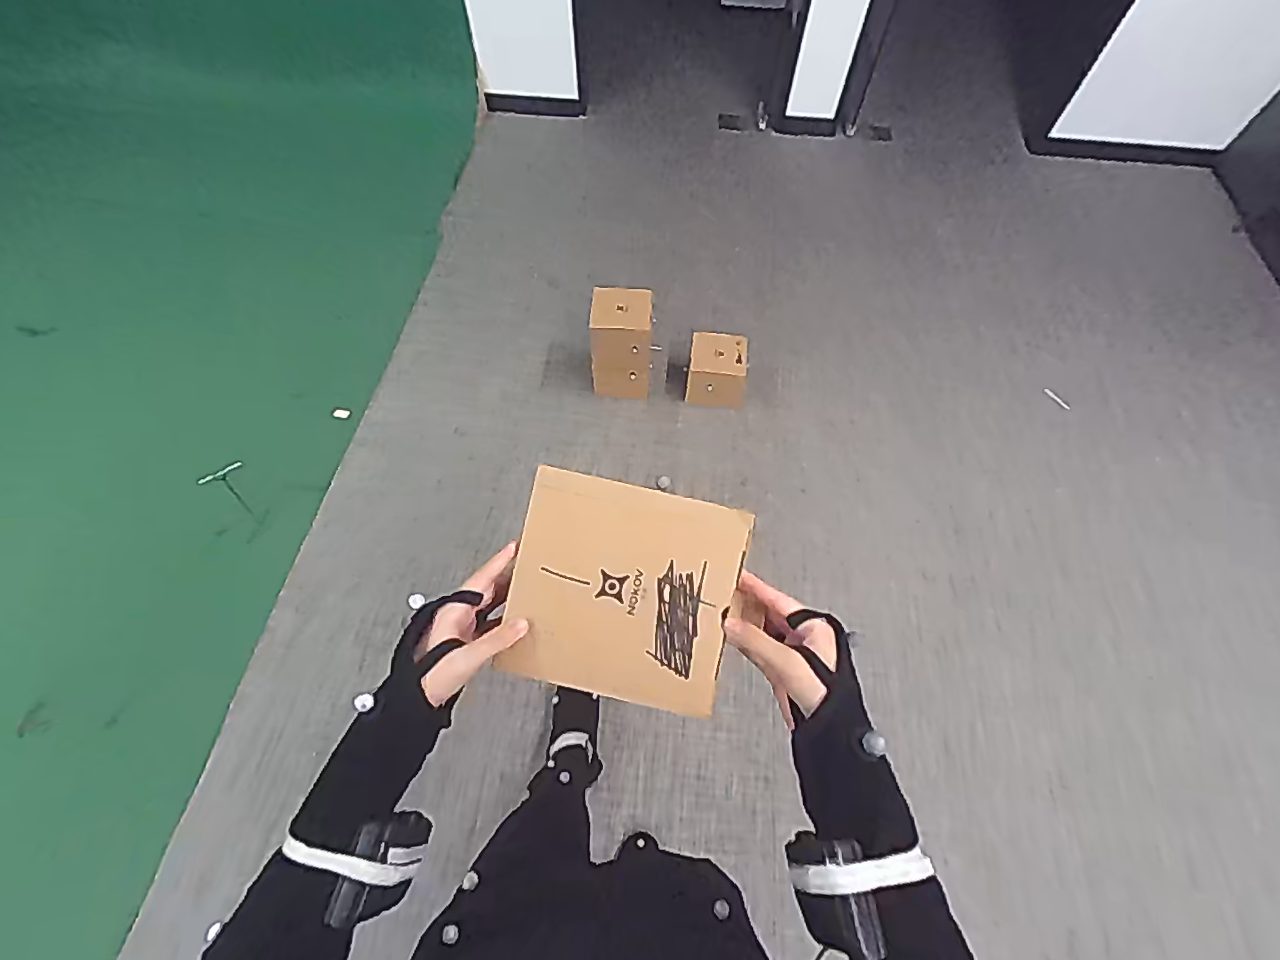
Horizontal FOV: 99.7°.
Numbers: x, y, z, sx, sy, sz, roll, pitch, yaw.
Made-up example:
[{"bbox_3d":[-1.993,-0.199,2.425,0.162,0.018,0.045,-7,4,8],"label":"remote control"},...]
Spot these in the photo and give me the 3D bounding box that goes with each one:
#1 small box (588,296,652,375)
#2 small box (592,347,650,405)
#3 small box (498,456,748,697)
[{"bbox_3d":[-0.057,-0.436,1.648,0.179,0.176,0.168,3,60,2],"label":"small box"},{"bbox_3d":[-0.061,-0.364,1.795,0.179,0.176,0.168,3,60,2],"label":"small box"},{"bbox_3d":[-0.010,0.080,0.518,0.179,0.176,0.168,13,88,3],"label":"small box"}]
